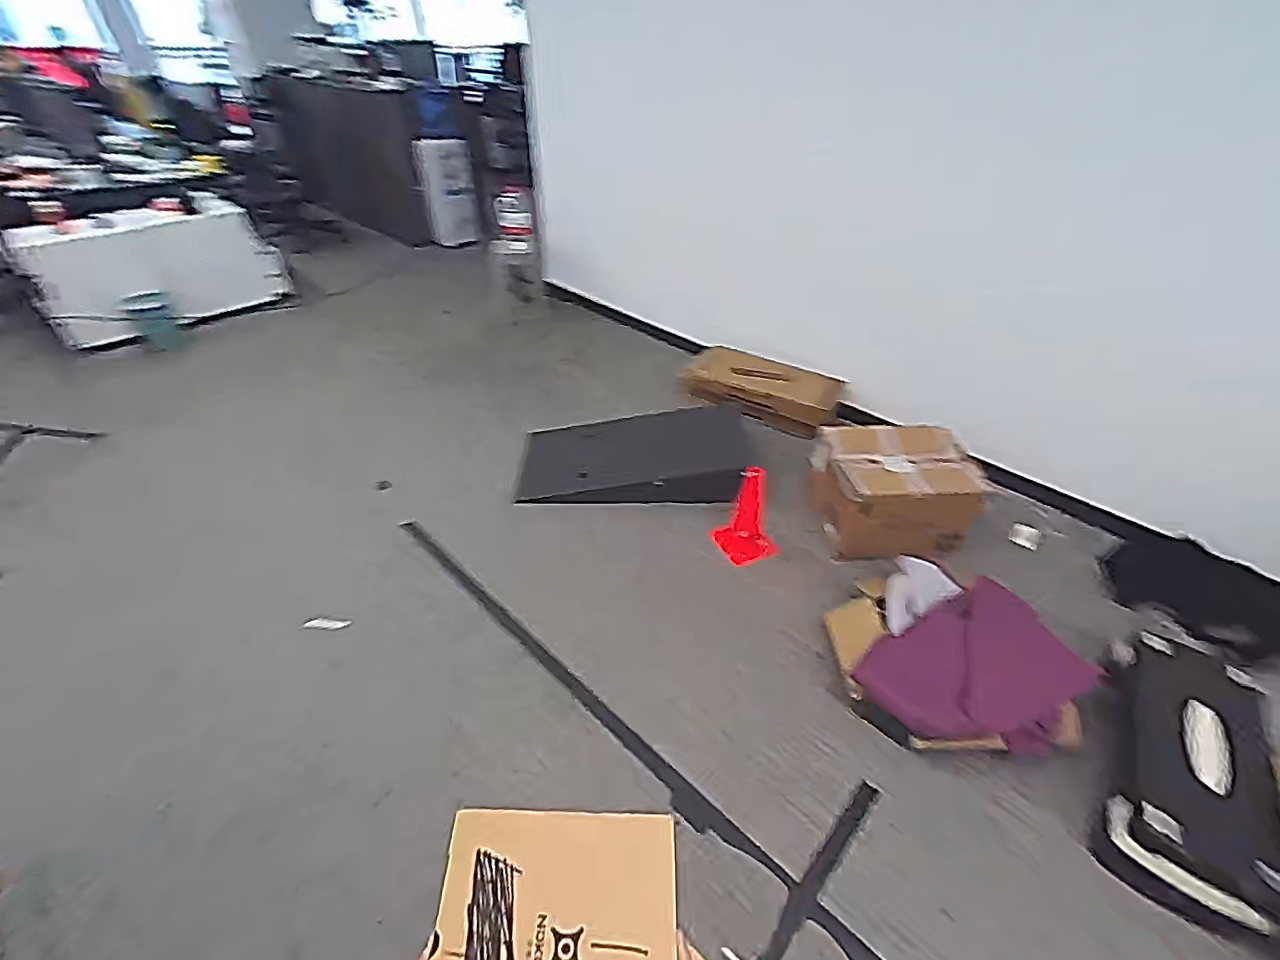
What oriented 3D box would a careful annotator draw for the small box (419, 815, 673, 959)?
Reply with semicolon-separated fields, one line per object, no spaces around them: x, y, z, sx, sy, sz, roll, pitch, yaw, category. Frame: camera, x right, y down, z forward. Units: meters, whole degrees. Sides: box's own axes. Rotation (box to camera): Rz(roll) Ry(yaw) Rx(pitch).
-0.068;0.380;0.428;0.179;0.176;0.168;2;46;-4;small box
